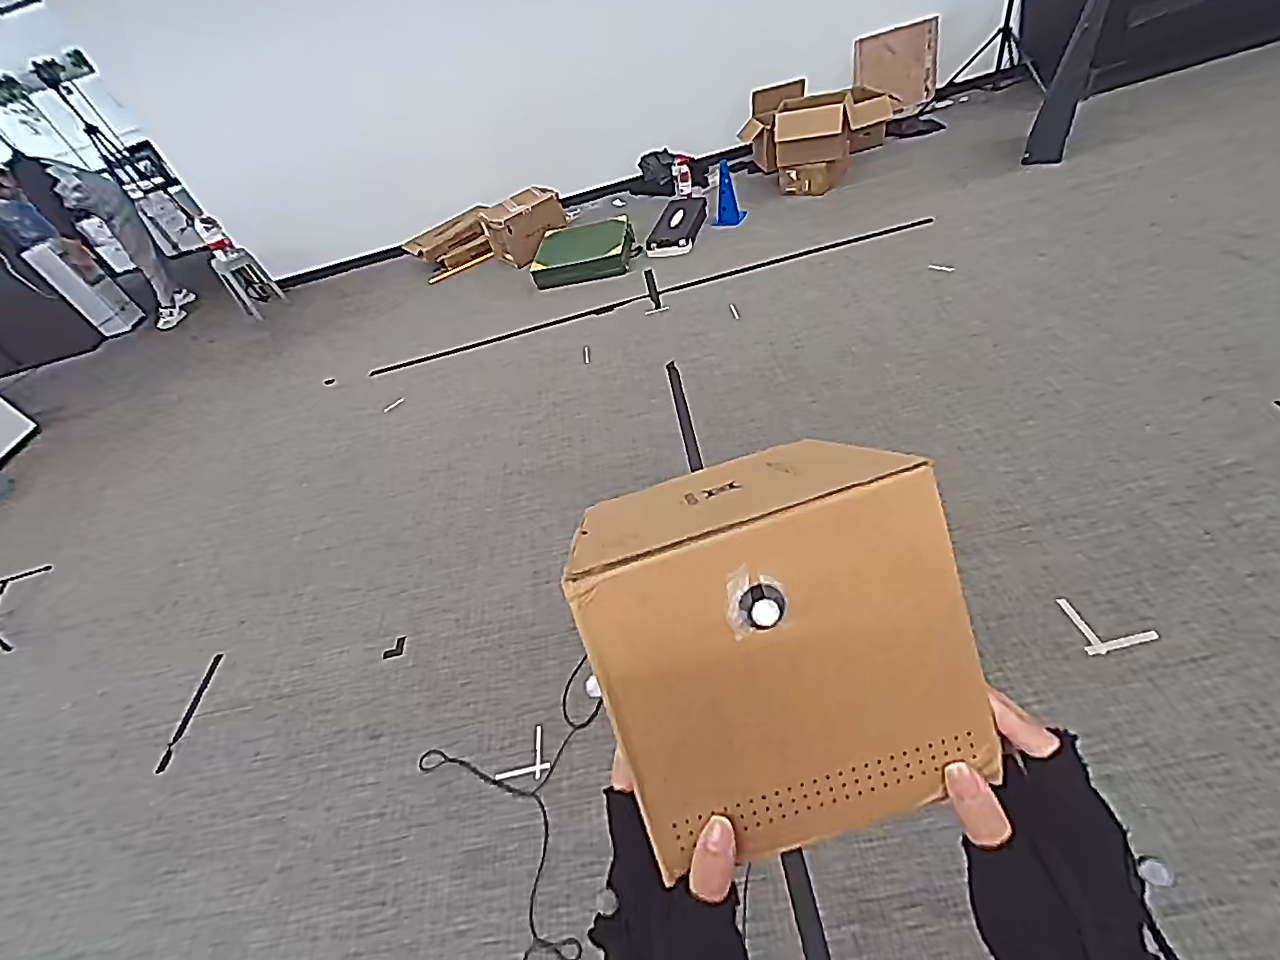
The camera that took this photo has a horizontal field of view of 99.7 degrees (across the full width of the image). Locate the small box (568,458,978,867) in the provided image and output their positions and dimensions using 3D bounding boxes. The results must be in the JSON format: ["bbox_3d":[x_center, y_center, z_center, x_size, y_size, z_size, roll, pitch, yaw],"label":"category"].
[{"bbox_3d":[0.071,0.097,0.344,0.179,0.176,0.168,-18,7,1],"label":"small box"}]
